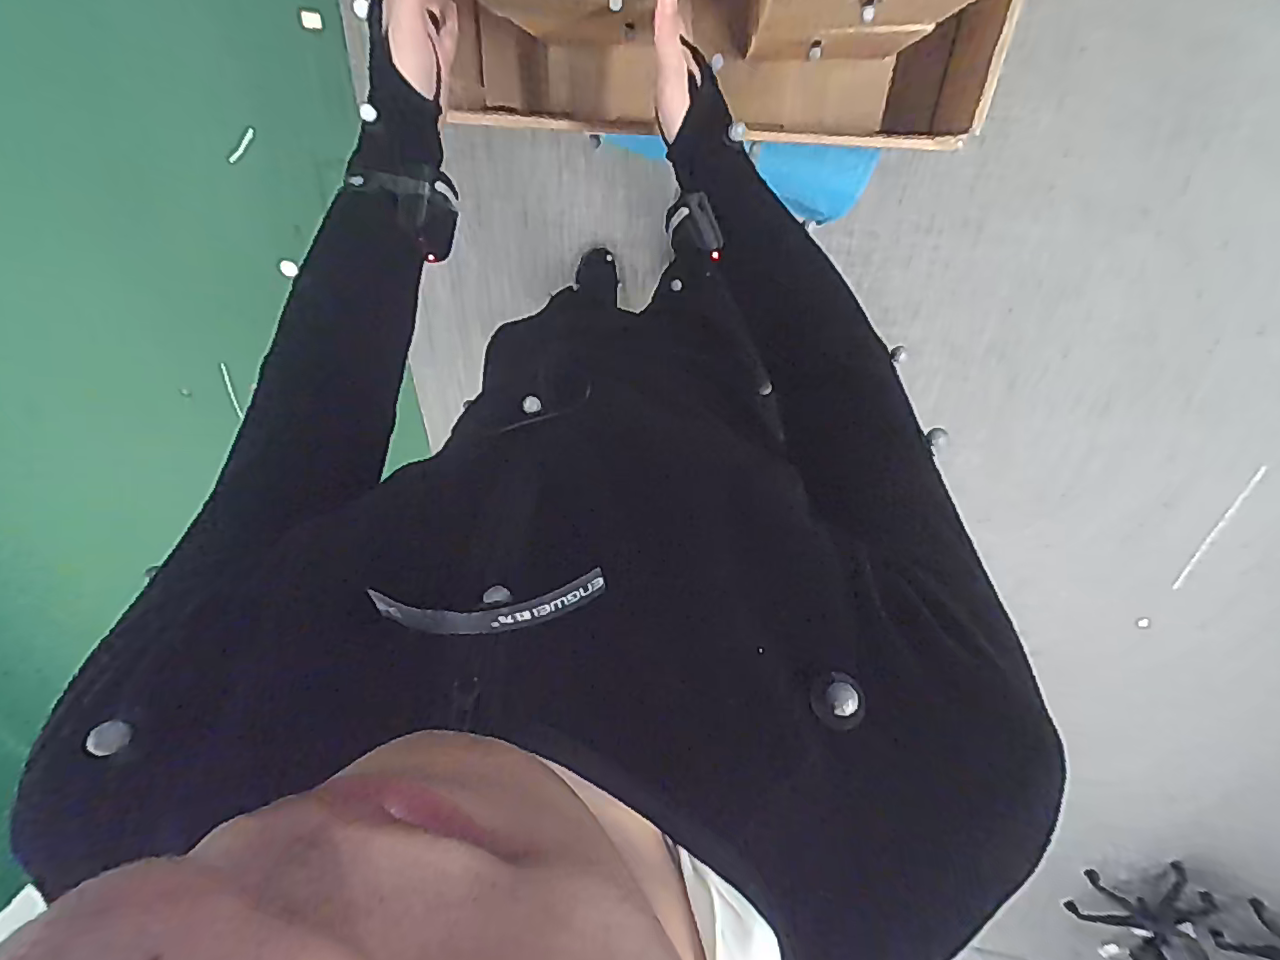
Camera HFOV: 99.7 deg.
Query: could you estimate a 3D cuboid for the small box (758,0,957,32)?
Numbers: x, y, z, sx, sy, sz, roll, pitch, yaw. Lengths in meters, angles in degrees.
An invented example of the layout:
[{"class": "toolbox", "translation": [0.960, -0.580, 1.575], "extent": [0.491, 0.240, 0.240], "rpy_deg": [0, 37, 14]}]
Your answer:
[{"class": "small box", "translation": [0.186, -0.468, 0.416], "extent": [0.179, 0.176, 0.168], "rpy_deg": [2, 121, 8]}]
